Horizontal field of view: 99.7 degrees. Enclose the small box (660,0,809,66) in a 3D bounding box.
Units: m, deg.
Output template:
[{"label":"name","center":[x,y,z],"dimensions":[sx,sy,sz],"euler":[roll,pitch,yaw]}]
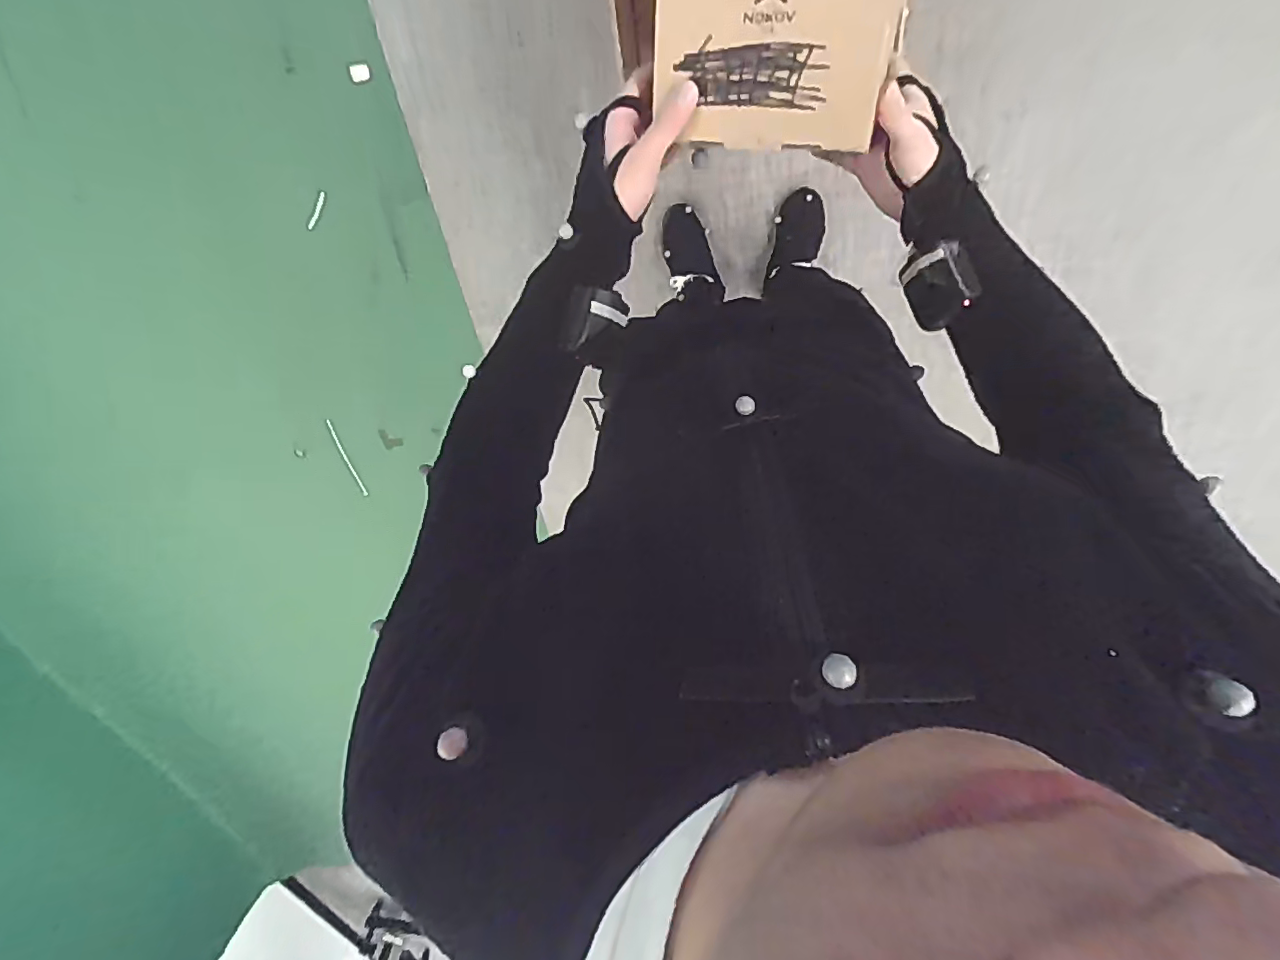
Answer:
[{"label":"small box","center":[0.112,-0.606,0.637],"dimensions":[0.168,0.176,0.179],"euler":[1,121,7]}]
